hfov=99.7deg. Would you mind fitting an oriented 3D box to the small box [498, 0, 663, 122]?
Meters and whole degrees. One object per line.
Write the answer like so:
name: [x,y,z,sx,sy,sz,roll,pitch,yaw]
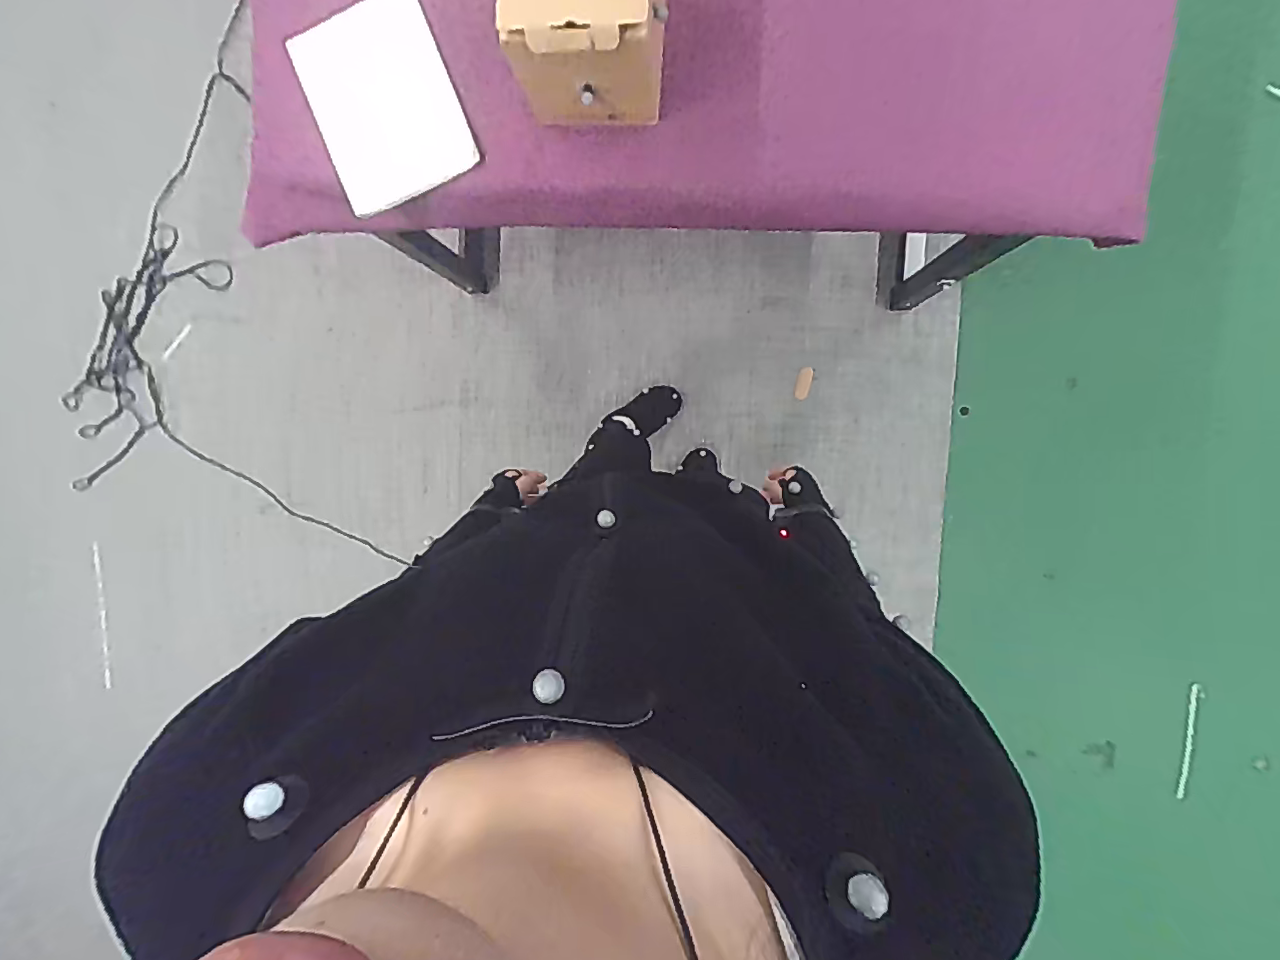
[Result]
small box: [-0.061,-0.565,0.653,0.168,0.176,0.179,4,96,5]
